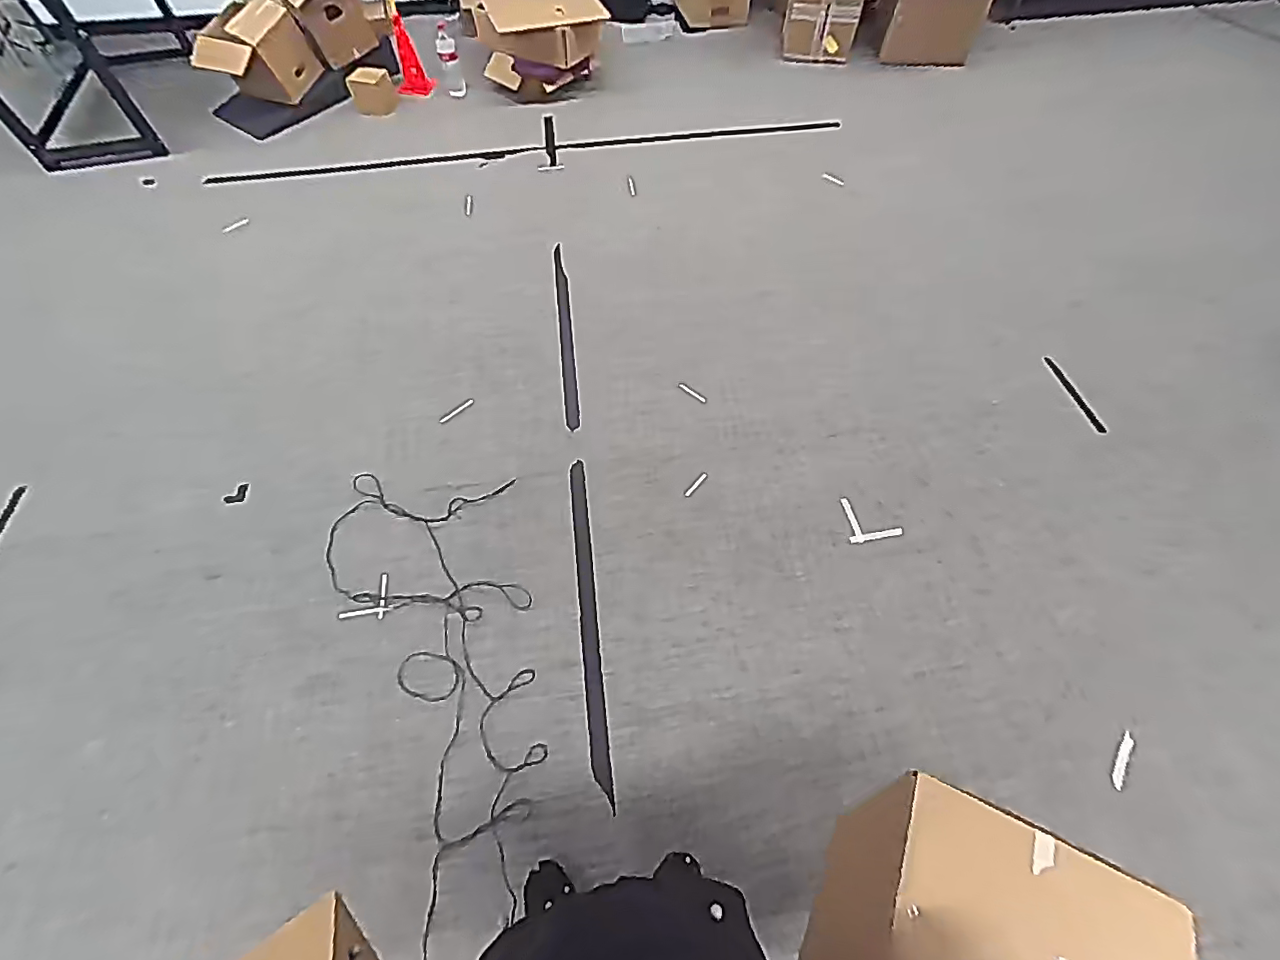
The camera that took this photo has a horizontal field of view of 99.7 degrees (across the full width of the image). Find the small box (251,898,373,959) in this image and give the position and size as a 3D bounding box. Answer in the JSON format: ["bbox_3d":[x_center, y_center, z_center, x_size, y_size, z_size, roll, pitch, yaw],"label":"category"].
[{"bbox_3d":[-0.412,0.683,0.656,0.168,0.179,0.176,-27,100,-27],"label":"small box"}]
